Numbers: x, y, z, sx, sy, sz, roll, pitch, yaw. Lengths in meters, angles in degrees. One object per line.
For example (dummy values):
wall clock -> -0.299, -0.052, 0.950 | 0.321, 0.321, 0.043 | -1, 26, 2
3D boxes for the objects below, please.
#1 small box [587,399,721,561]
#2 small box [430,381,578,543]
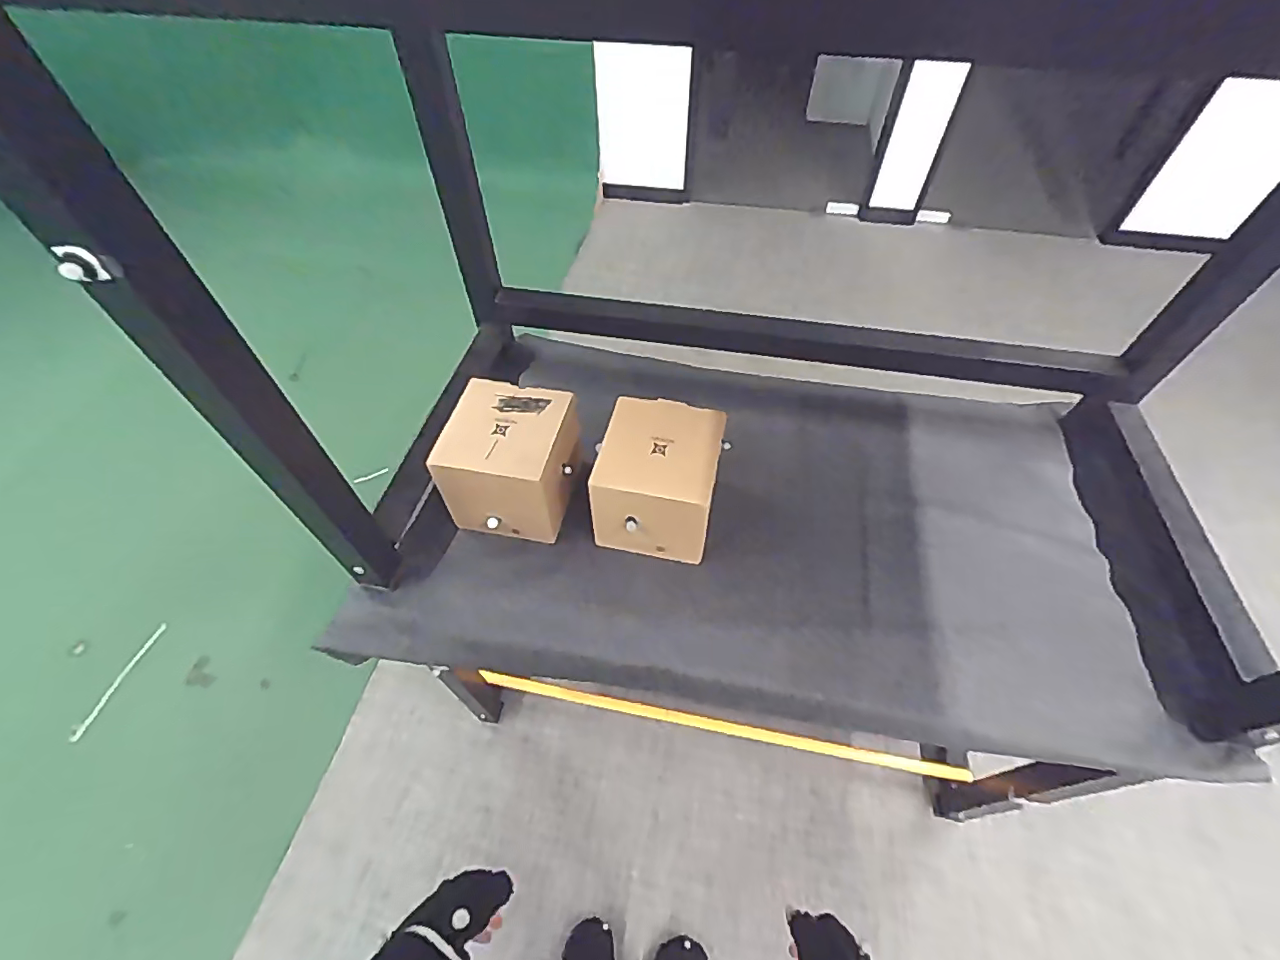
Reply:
small box -> 0.025, 0.003, 0.834 | 0.168, 0.176, 0.179 | 10, 53, 7
small box -> -0.199, -0.027, 0.854 | 0.168, 0.176, 0.179 | 9, 54, 6
